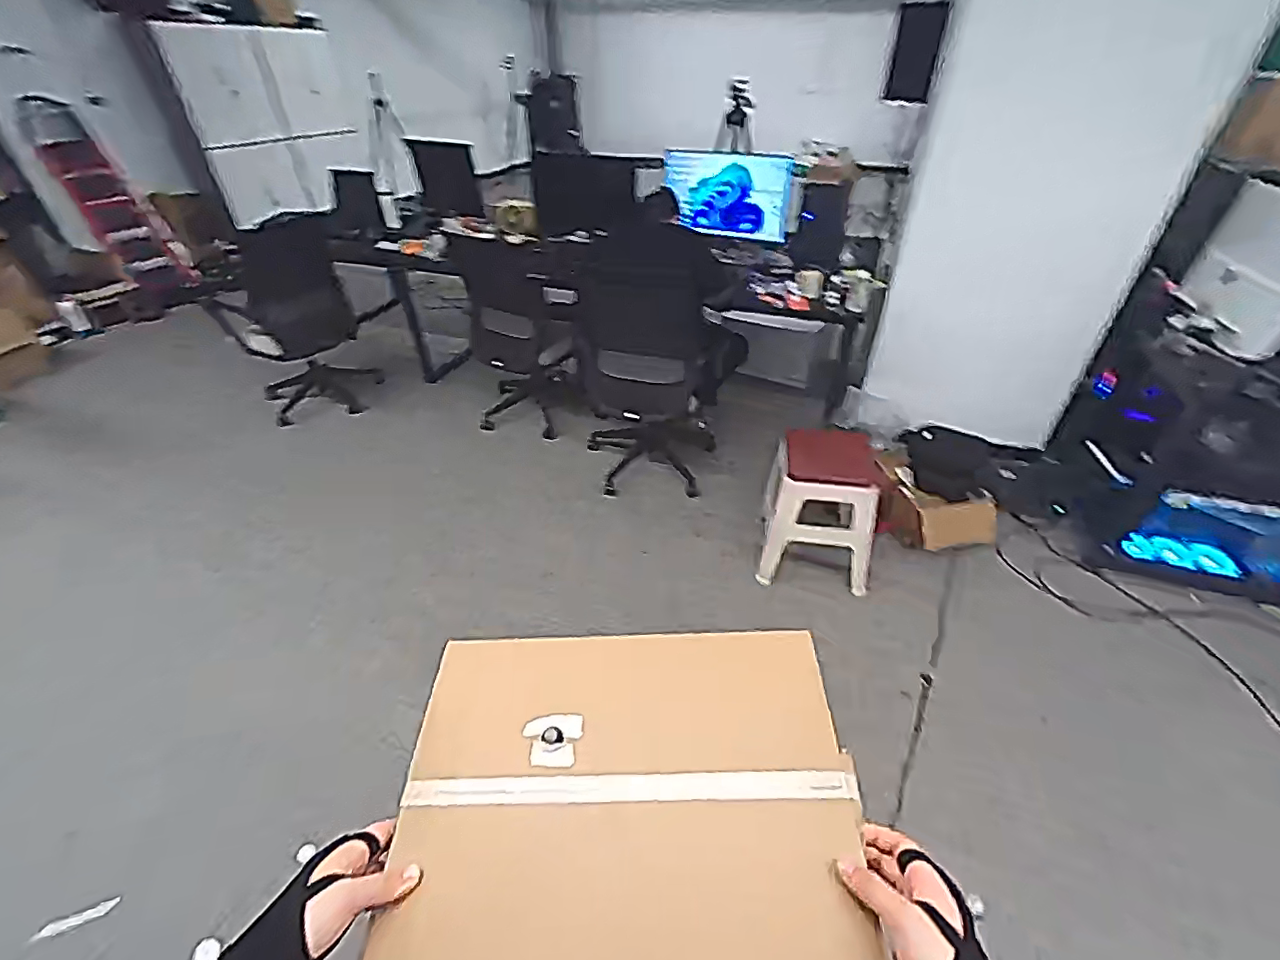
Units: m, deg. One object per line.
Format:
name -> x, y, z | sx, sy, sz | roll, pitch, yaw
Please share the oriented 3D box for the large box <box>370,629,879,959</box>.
large box -> -0.005, 0.396, 0.603 | 0.408, 0.320, 0.320 | -5, 43, 4
